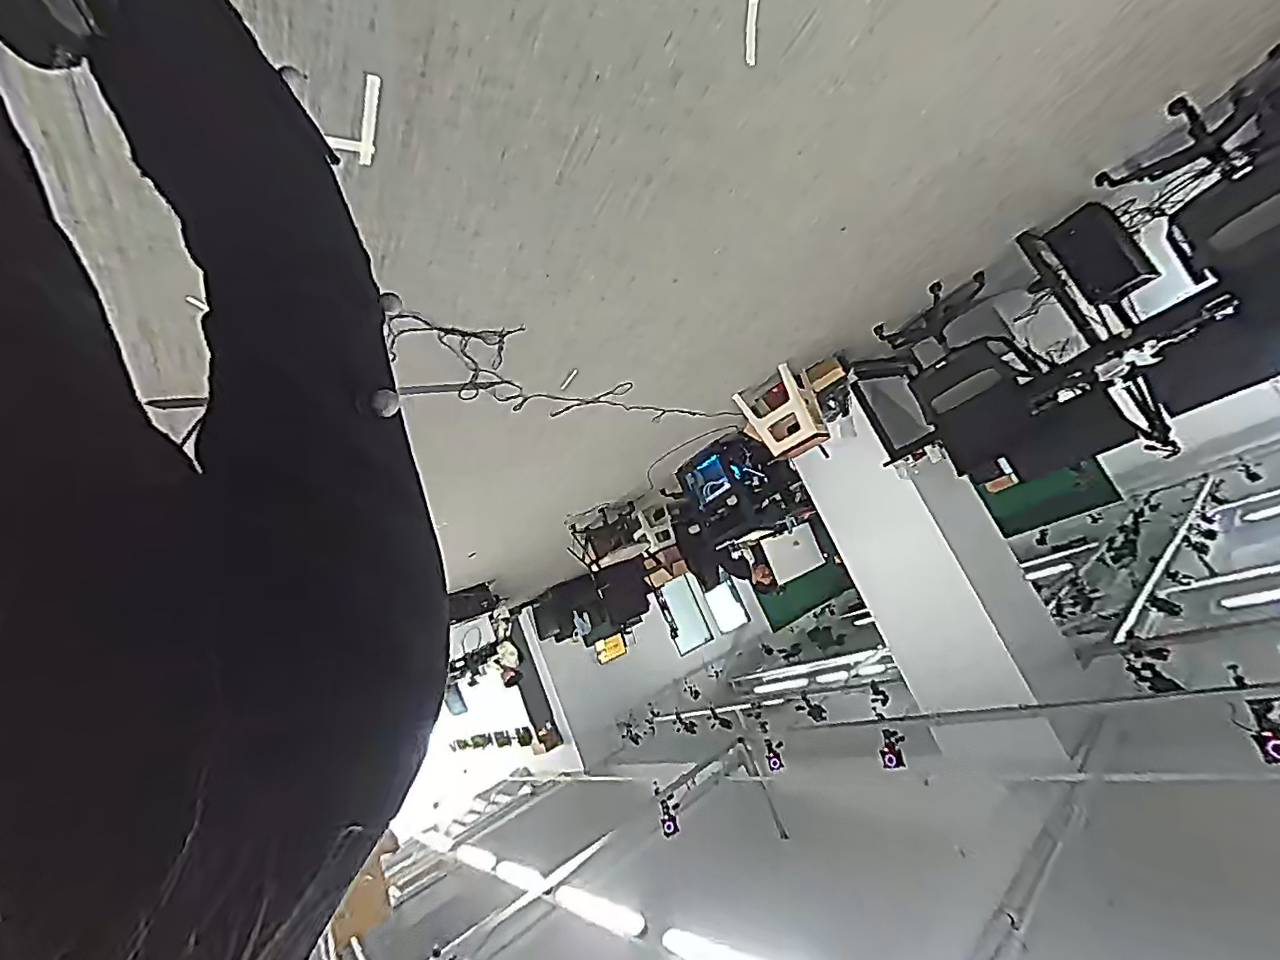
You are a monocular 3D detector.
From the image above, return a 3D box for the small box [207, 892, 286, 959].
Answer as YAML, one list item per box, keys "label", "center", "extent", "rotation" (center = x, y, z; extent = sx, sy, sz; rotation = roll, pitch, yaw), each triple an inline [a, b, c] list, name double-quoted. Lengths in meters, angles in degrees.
- label: "small box"
  center: [-1.298, 1.503, 1.776]
  extent: [0.179, 0.176, 0.168]
  rotation: [-14, 165, -44]
